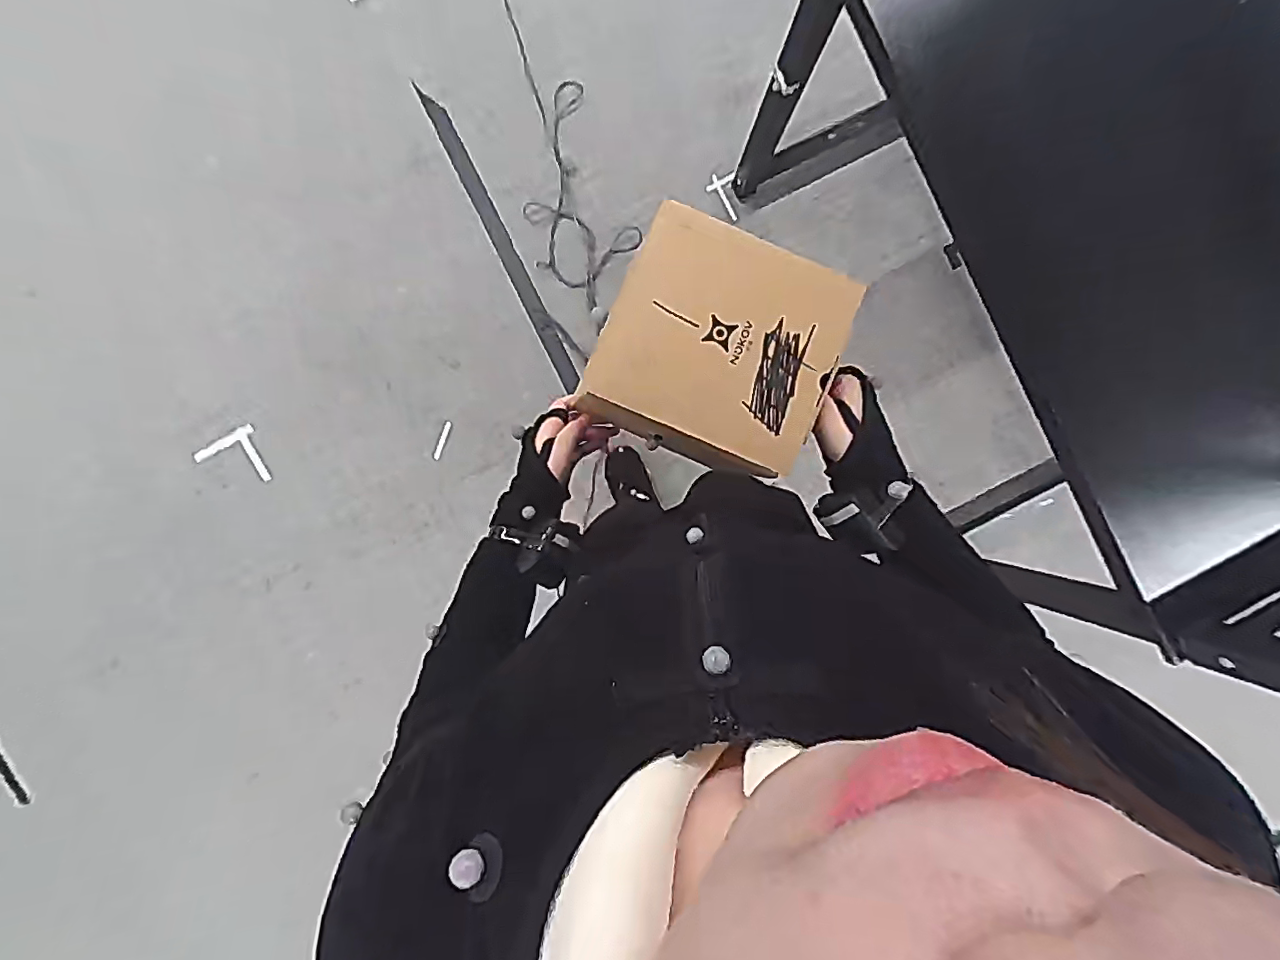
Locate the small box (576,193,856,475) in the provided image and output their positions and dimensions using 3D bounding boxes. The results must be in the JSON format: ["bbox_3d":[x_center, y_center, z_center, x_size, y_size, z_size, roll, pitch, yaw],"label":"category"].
[{"bbox_3d":[0.053,-0.117,0.501,0.179,0.176,0.168,23,89,-12],"label":"small box"}]
